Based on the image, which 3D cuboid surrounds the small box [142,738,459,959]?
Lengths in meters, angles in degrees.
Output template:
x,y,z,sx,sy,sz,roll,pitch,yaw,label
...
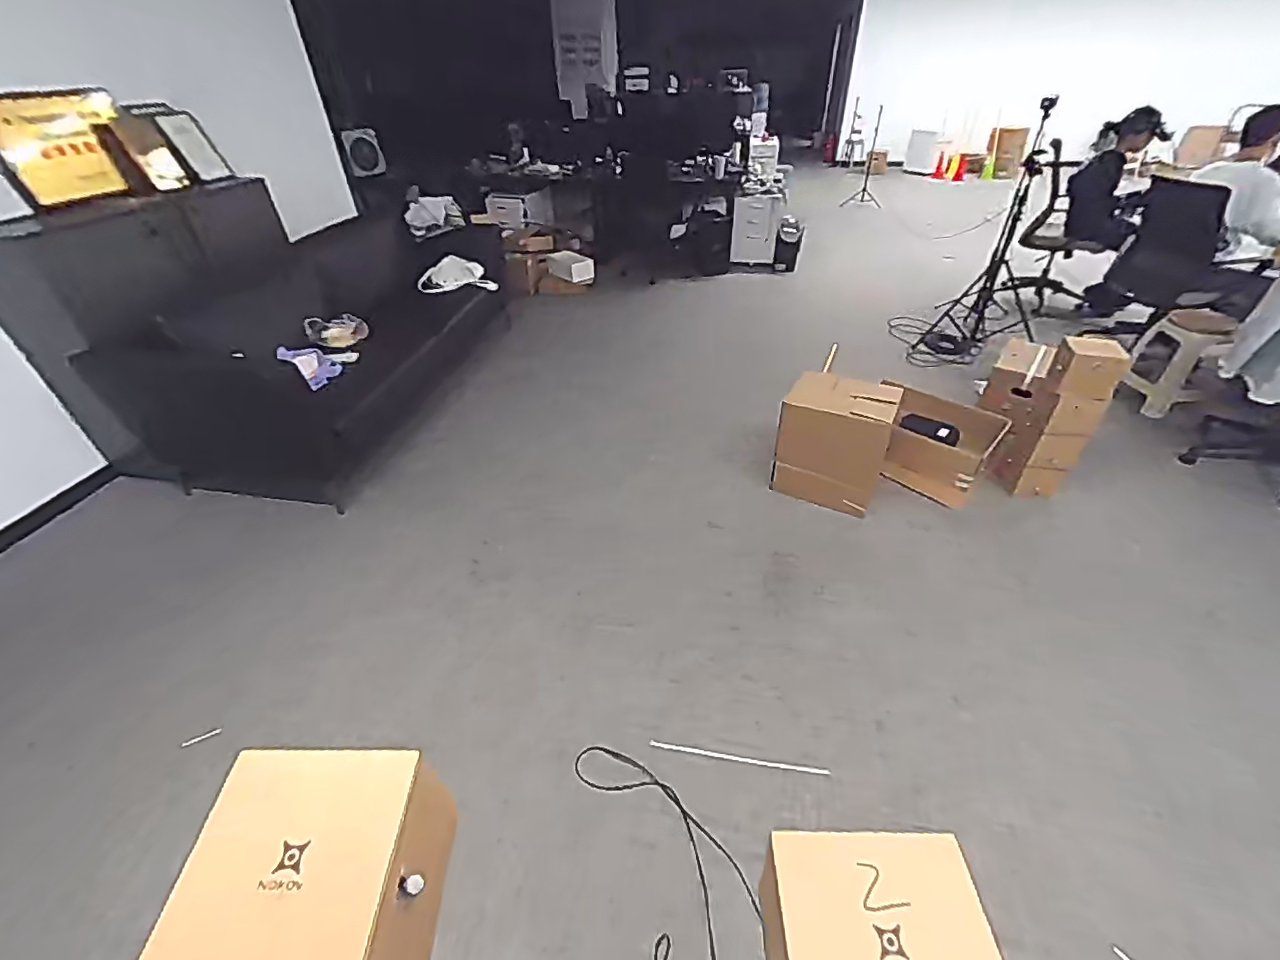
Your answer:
x,y,z,sx,sy,sz,roll,pitch,yaw,label
-0.279,0.359,0.496,0.168,0.176,0.179,1,46,0,small box
